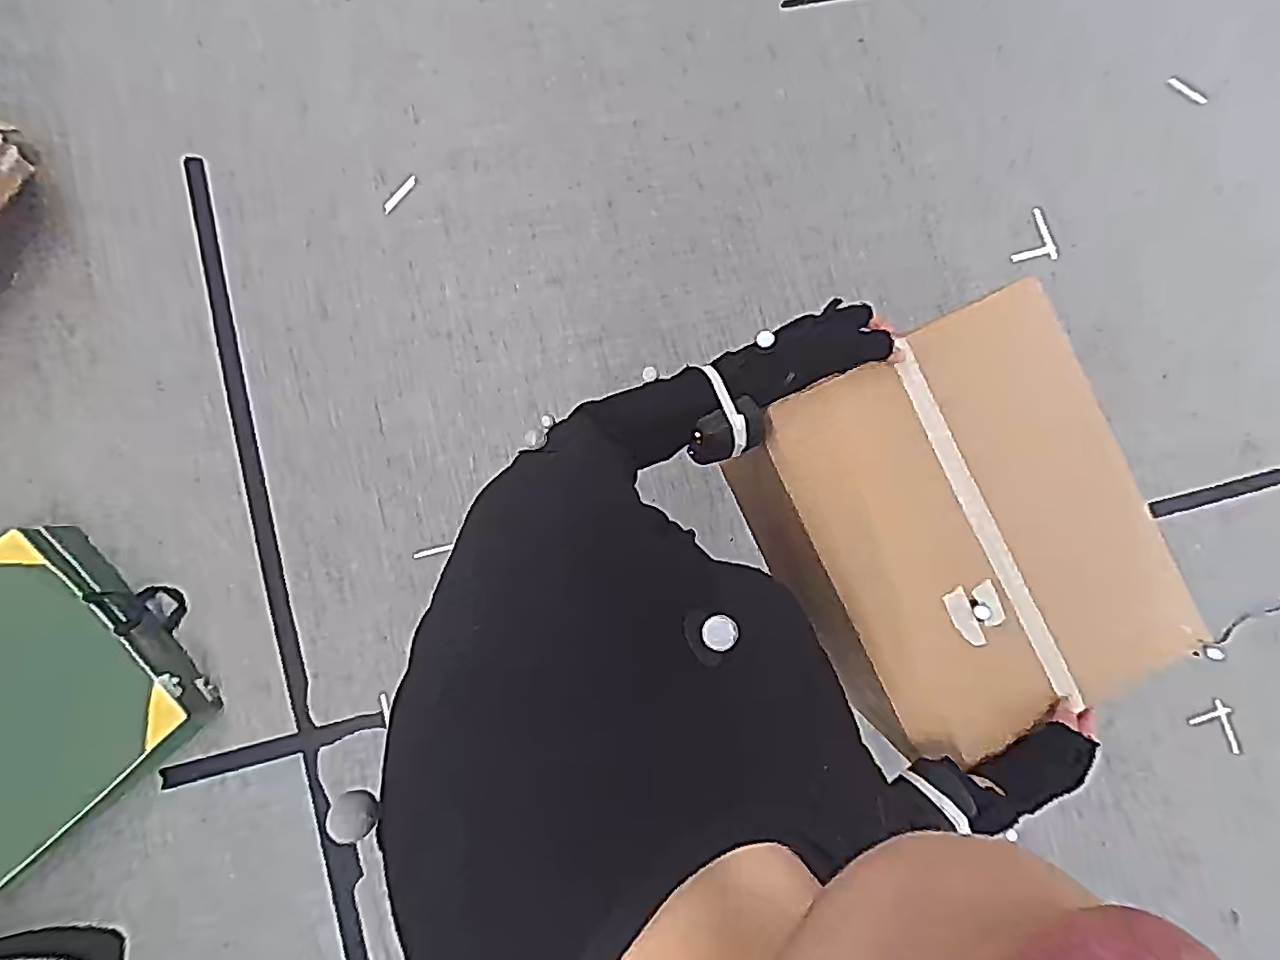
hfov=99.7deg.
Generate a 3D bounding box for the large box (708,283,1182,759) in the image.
[{"bbox_3d":[0.328,0.038,0.692,0.320,0.320,0.408,-26,92,-1],"label":"large box"}]
